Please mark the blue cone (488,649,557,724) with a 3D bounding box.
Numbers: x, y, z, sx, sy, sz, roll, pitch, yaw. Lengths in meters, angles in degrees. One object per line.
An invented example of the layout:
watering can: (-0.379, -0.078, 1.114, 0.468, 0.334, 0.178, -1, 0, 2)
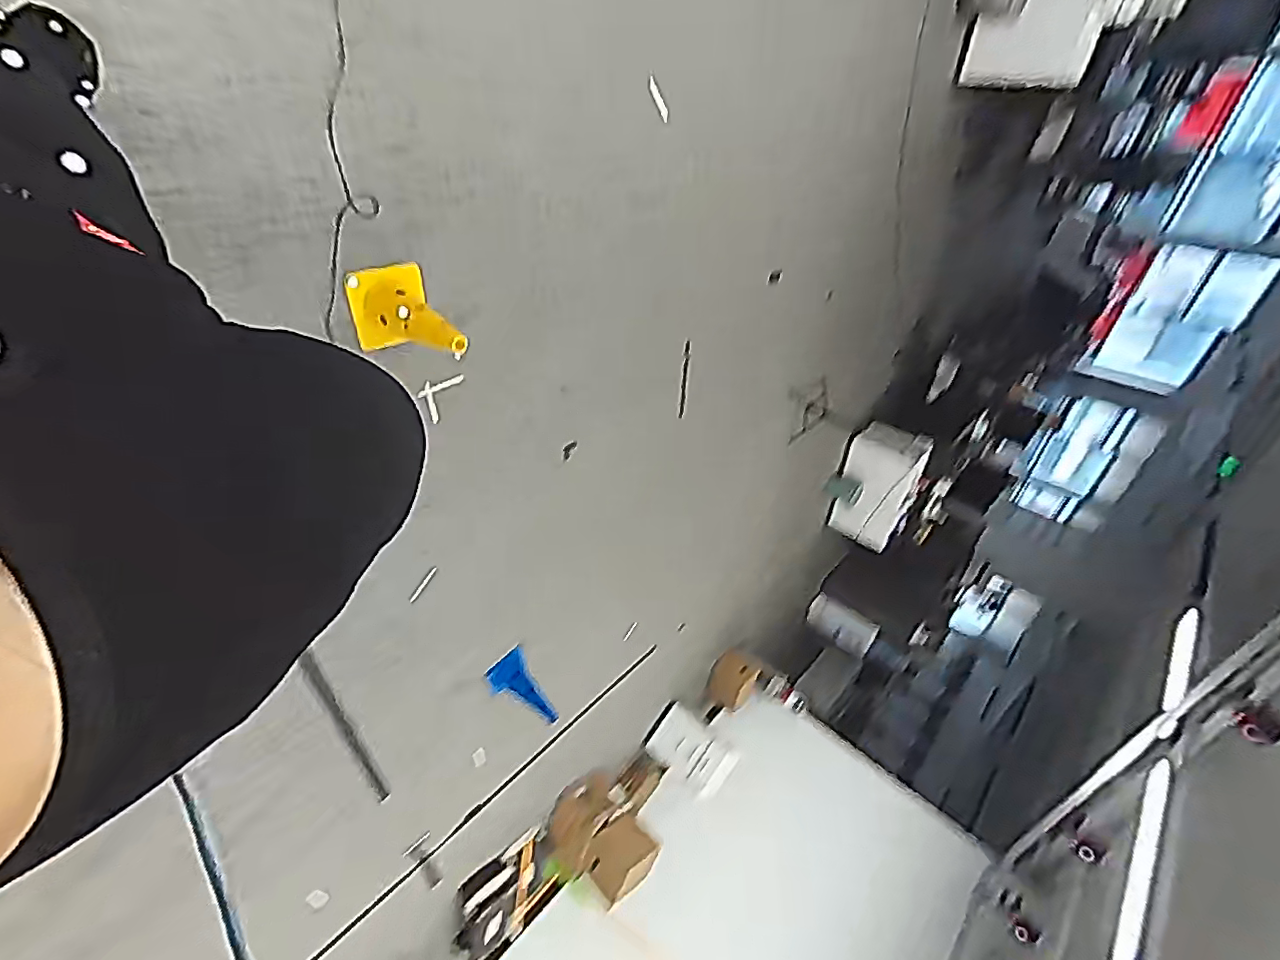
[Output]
blue cone: (-0.504, 0.965, 2.463, 0.192, 0.380, 0.193, -36, 140, -31)
